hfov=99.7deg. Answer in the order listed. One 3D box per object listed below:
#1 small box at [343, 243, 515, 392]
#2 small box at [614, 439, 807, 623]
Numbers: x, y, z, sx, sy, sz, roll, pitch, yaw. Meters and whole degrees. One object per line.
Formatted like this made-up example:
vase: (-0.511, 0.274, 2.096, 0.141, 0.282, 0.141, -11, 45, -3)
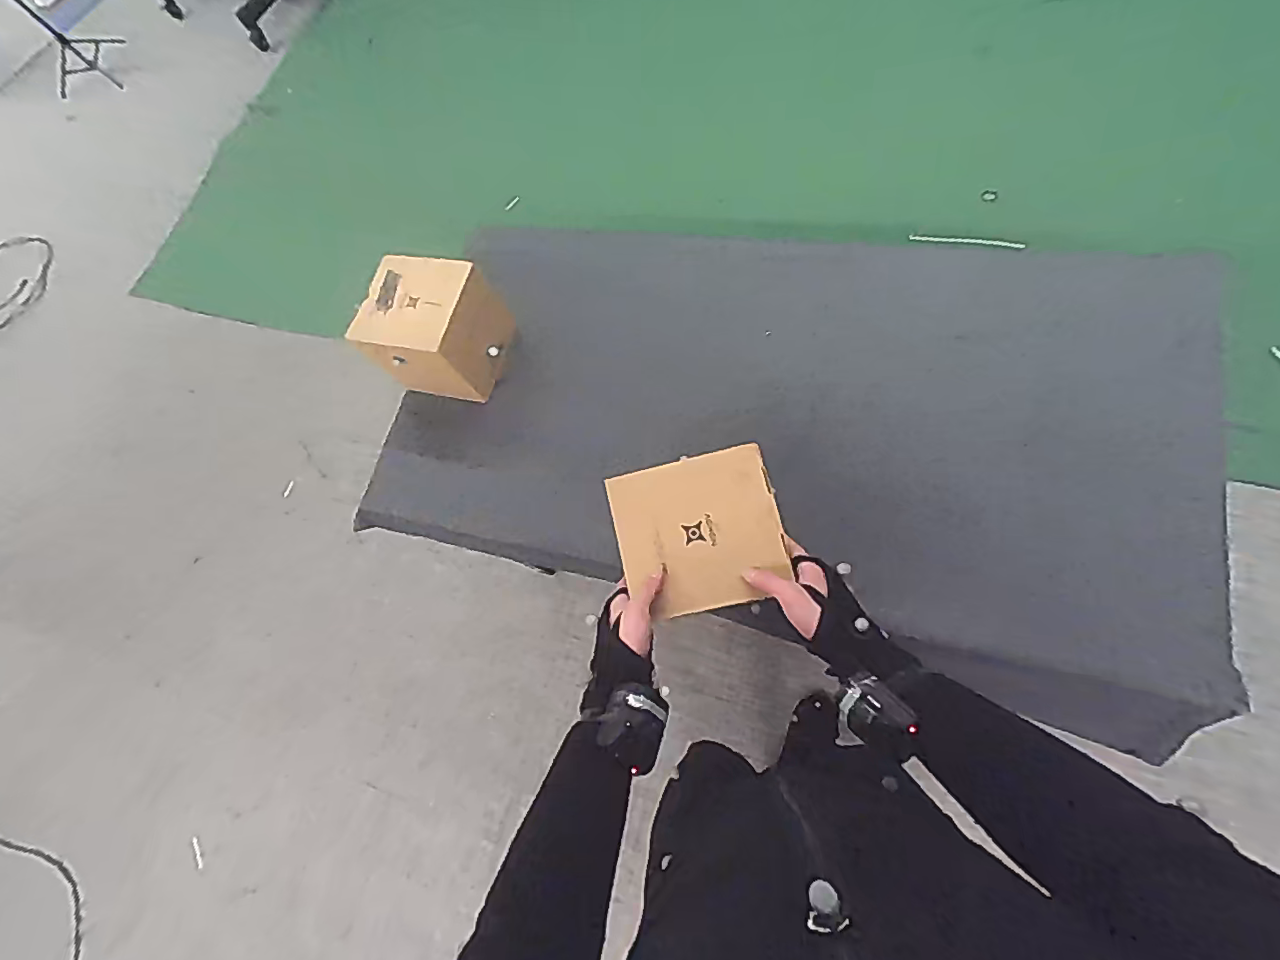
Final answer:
small box: (-0.339, -0.264, 0.901, 0.179, 0.176, 0.168, 12, 74, 14)
small box: (0.081, 0.068, 0.647, 0.179, 0.176, 0.168, -14, 76, 6)
